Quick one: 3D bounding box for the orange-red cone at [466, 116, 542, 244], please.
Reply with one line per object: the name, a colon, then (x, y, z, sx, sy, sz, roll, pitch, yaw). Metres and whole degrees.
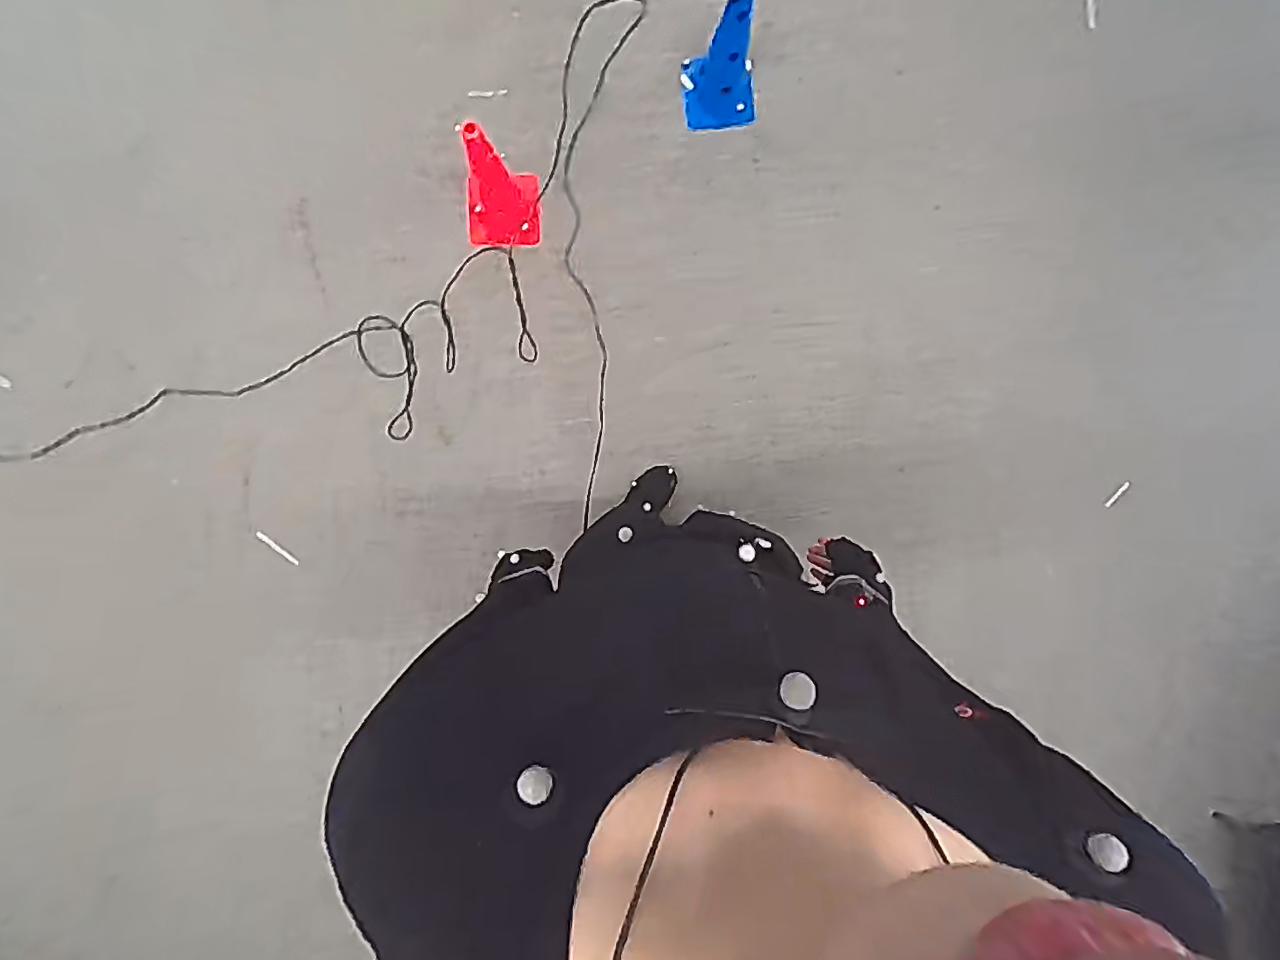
orange-red cone: (-0.364, -0.758, 1.327, 0.198, 0.360, 0.199, -1, 89, -3)
